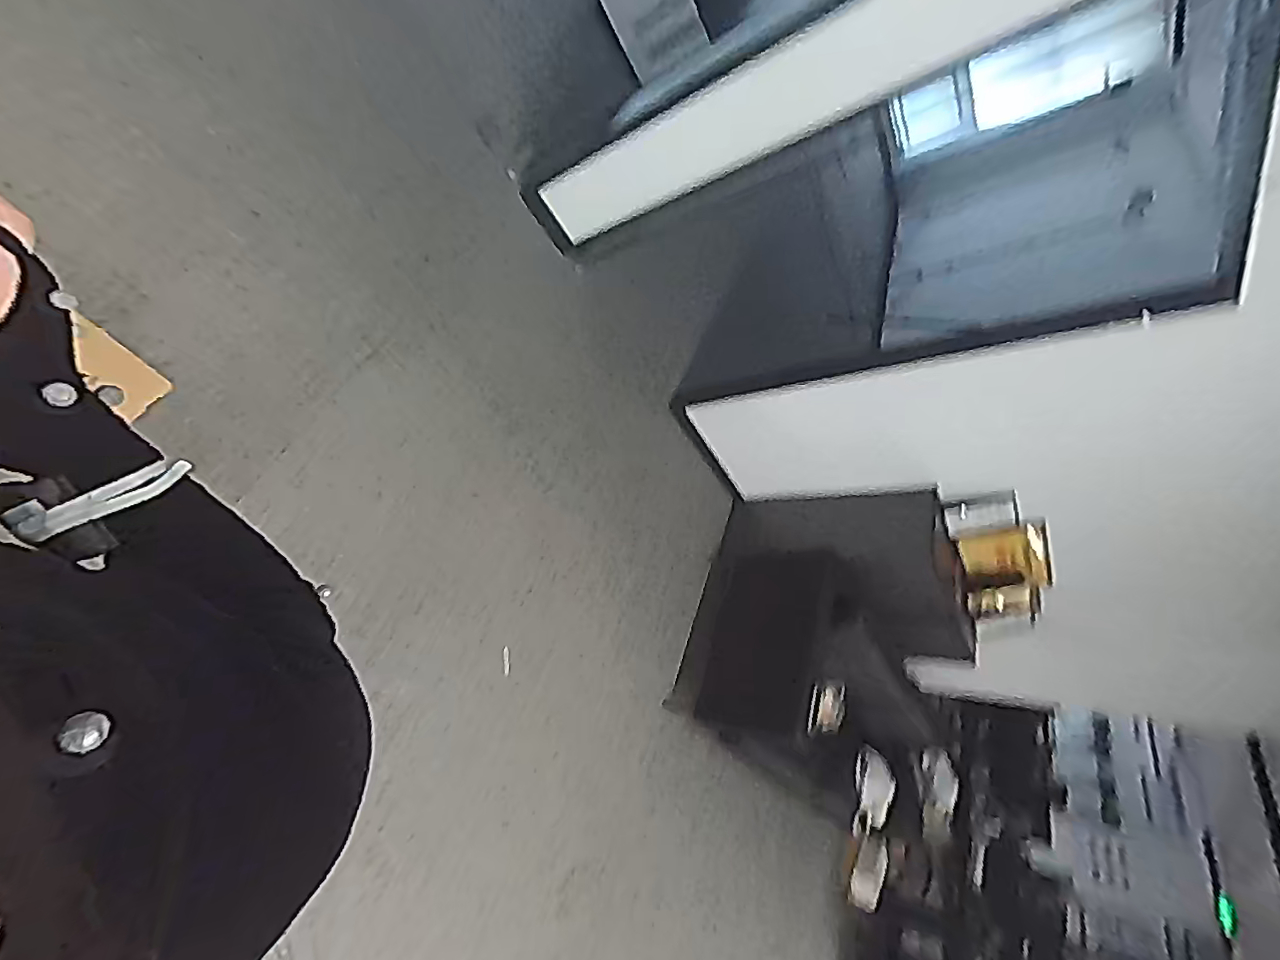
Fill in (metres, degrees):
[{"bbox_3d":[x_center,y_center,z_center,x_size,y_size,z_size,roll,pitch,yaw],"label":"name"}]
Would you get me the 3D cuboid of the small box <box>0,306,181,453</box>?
[{"bbox_3d":[-0.964,-0.163,0.933,0.179,0.176,0.168,53,49,-34],"label":"small box"}]
